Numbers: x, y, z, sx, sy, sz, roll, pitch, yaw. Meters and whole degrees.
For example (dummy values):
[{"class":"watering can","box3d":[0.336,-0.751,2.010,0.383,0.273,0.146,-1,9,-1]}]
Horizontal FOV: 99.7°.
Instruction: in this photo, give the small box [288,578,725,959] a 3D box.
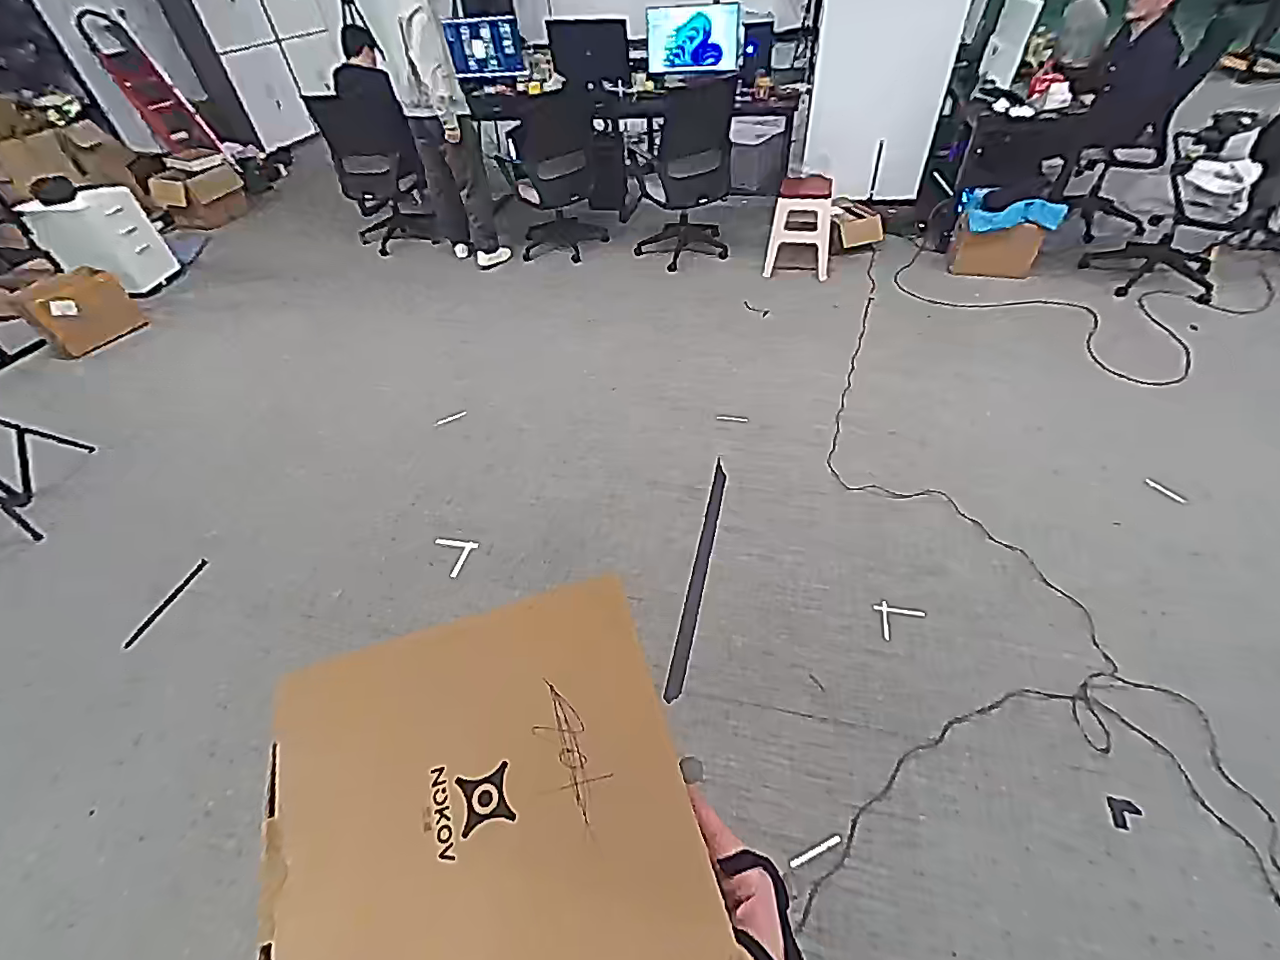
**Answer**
[{"class":"small box","box3d":[-0.066,0.184,0.313,0.179,0.176,0.168,-17,60,-7]}]
